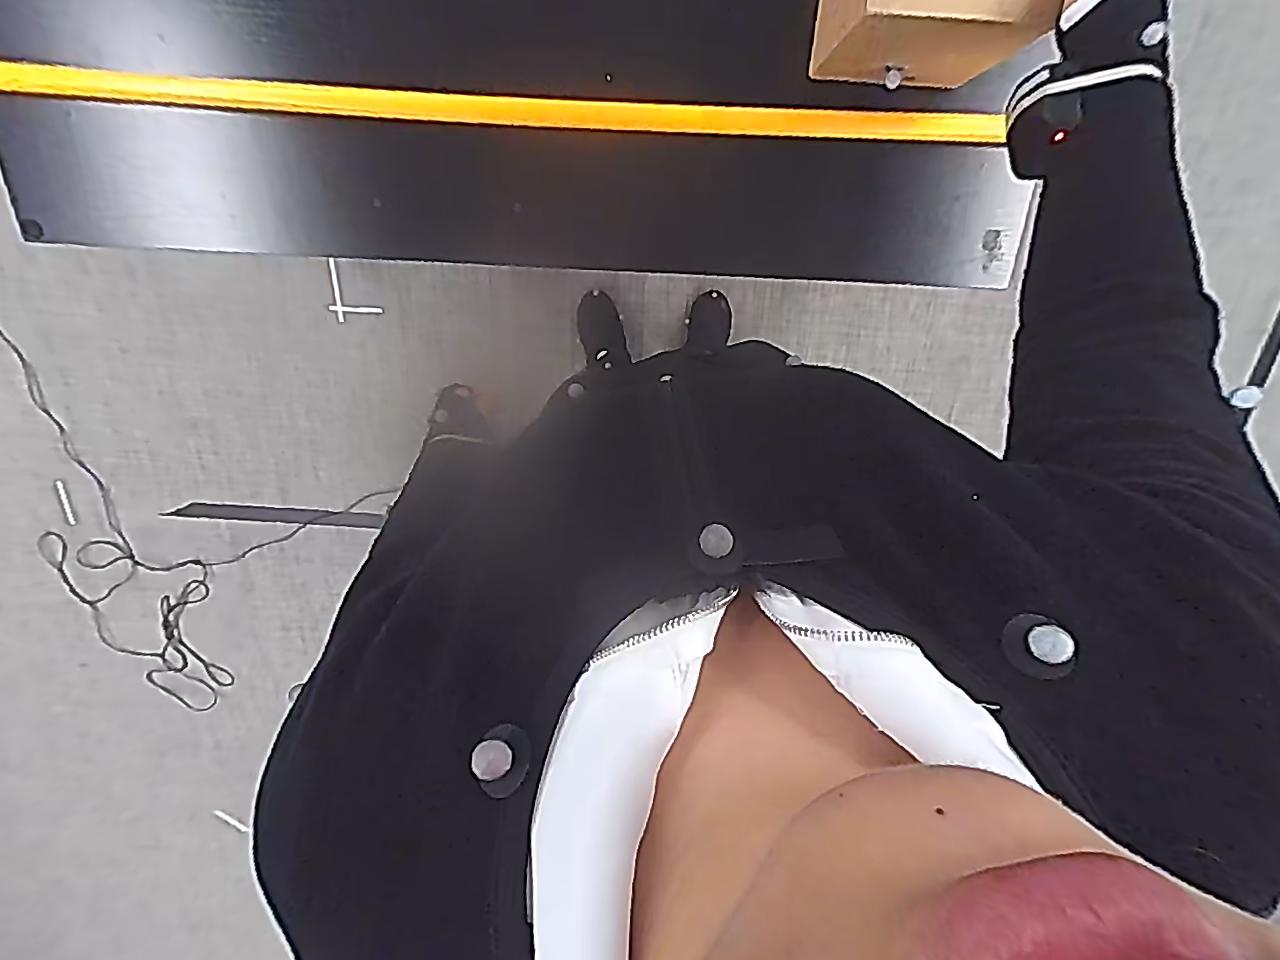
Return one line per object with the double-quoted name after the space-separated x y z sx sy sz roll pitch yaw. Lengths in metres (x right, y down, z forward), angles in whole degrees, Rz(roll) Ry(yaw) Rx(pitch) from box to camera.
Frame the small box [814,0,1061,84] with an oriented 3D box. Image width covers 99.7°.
0.273 -0.499 0.495 0.168 0.176 0.179 3 111 -1 "small box"
